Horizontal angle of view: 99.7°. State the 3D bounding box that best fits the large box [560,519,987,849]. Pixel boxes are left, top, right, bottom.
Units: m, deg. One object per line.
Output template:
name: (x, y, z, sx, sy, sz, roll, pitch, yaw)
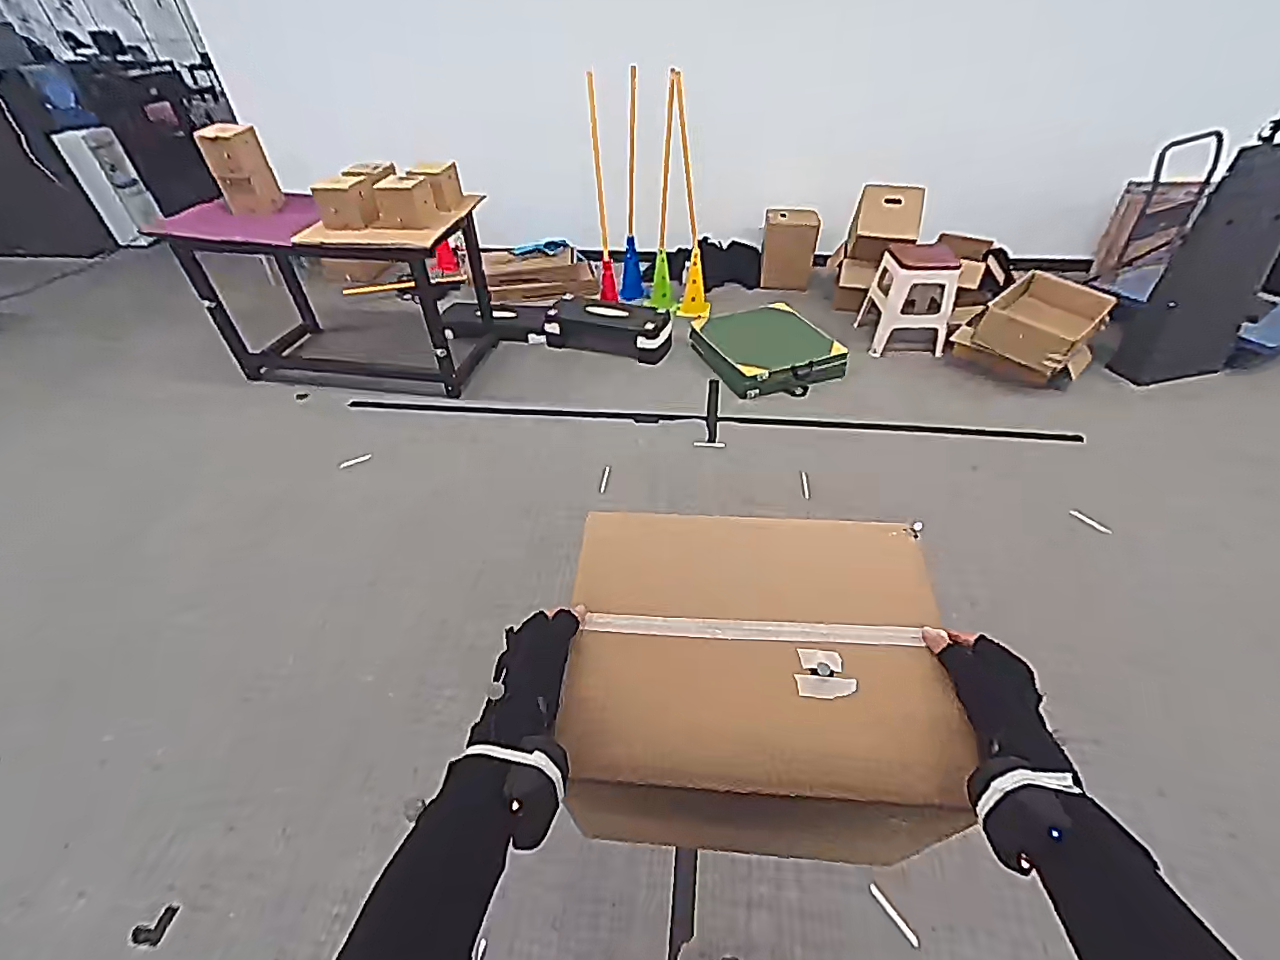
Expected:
large box: (0.132, 0.267, 0.710, 0.408, 0.320, 0.320, 1, 48, 4)
